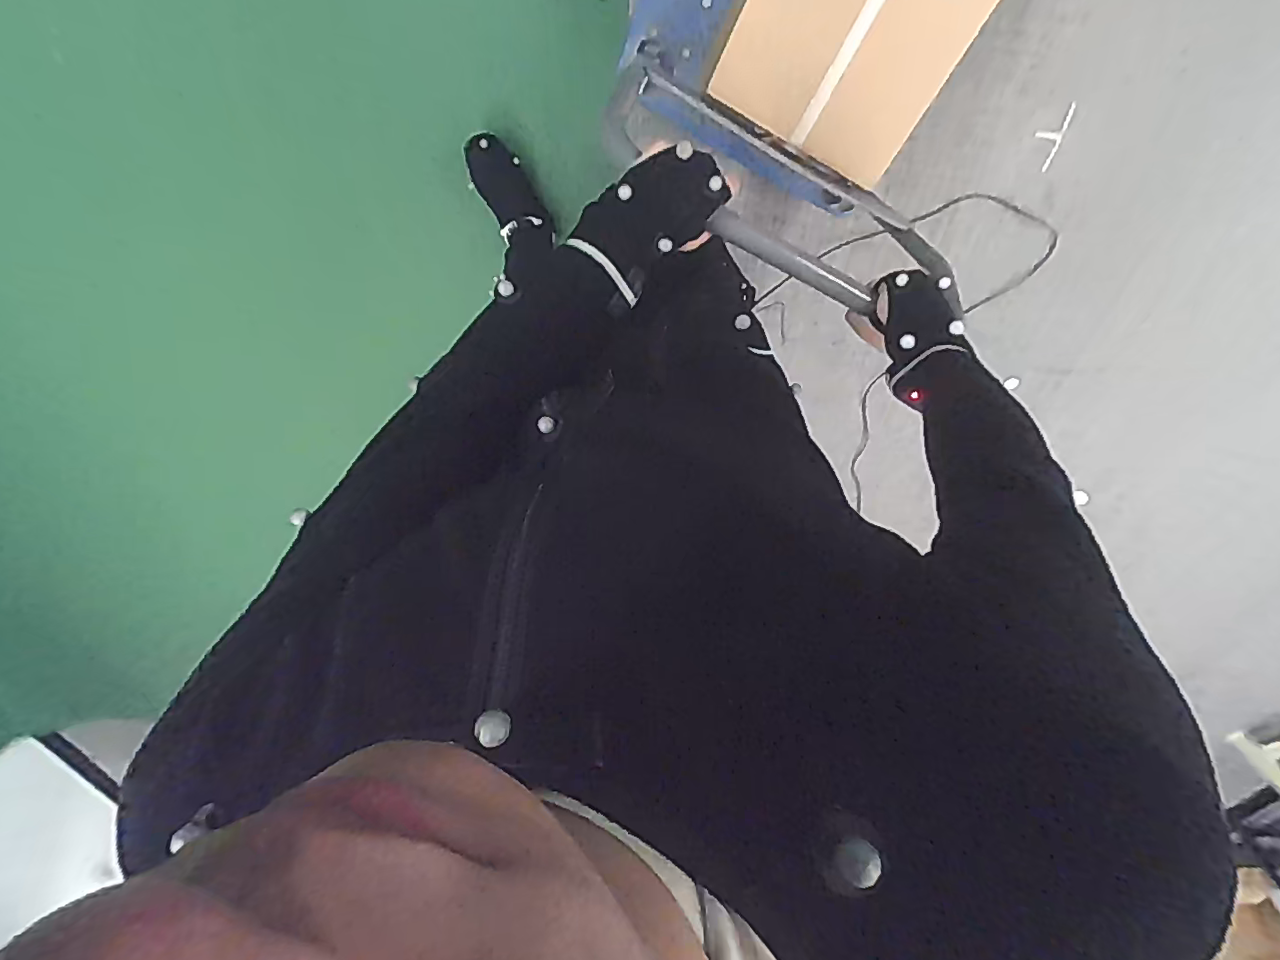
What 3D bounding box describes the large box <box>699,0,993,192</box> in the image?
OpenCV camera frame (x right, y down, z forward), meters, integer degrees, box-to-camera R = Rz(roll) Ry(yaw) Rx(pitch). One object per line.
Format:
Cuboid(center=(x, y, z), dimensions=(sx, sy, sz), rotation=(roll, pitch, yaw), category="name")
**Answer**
Cuboid(center=(0.323, -0.755, 0.865), dimensions=(0.320, 0.320, 0.408), rotation=(22, 125, -15), category="large box")
